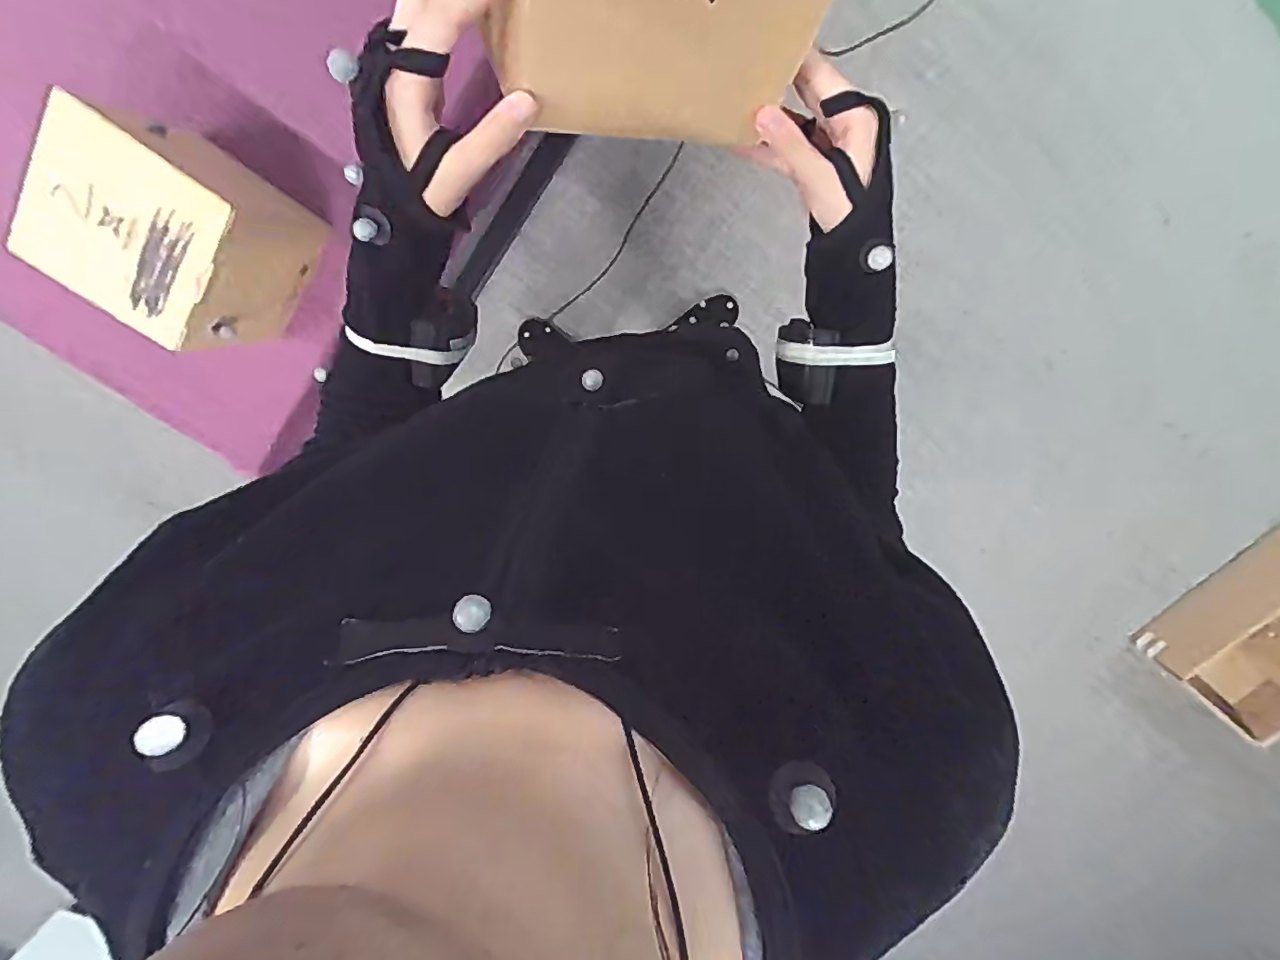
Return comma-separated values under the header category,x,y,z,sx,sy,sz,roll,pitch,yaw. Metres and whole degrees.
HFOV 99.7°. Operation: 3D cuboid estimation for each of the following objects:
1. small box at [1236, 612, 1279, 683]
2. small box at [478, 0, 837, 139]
category,x,y,z,sx,sy,sz,roll,pitch,yaw
small box,1.888,0.509,1.532,0.179,0.176,0.168,37,105,-10
small box,0.006,-0.315,0.269,0.168,0.179,0.176,-12,71,-24
